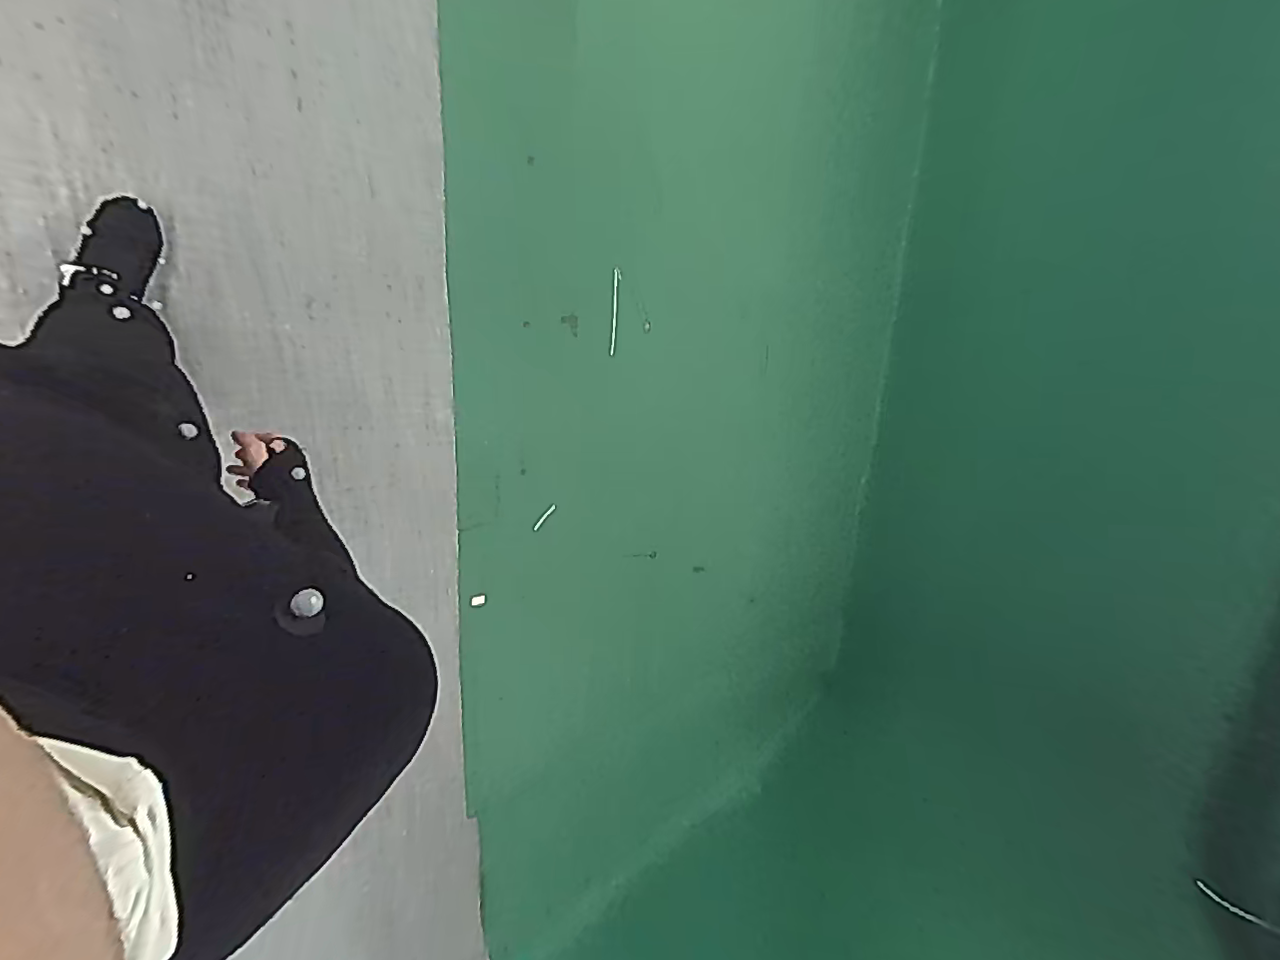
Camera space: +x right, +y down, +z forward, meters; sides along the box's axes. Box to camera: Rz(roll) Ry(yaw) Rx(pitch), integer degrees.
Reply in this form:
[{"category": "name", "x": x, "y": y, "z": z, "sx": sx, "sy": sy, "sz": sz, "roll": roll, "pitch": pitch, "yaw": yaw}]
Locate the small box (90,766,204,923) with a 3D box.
[{"category": "small box", "x": -1.021, "y": 0.745, "z": 1.126, "sx": 0.168, "sy": 0.176, "sz": 0.179, "roll": -4, "pitch": 106, "yaw": -44}]
